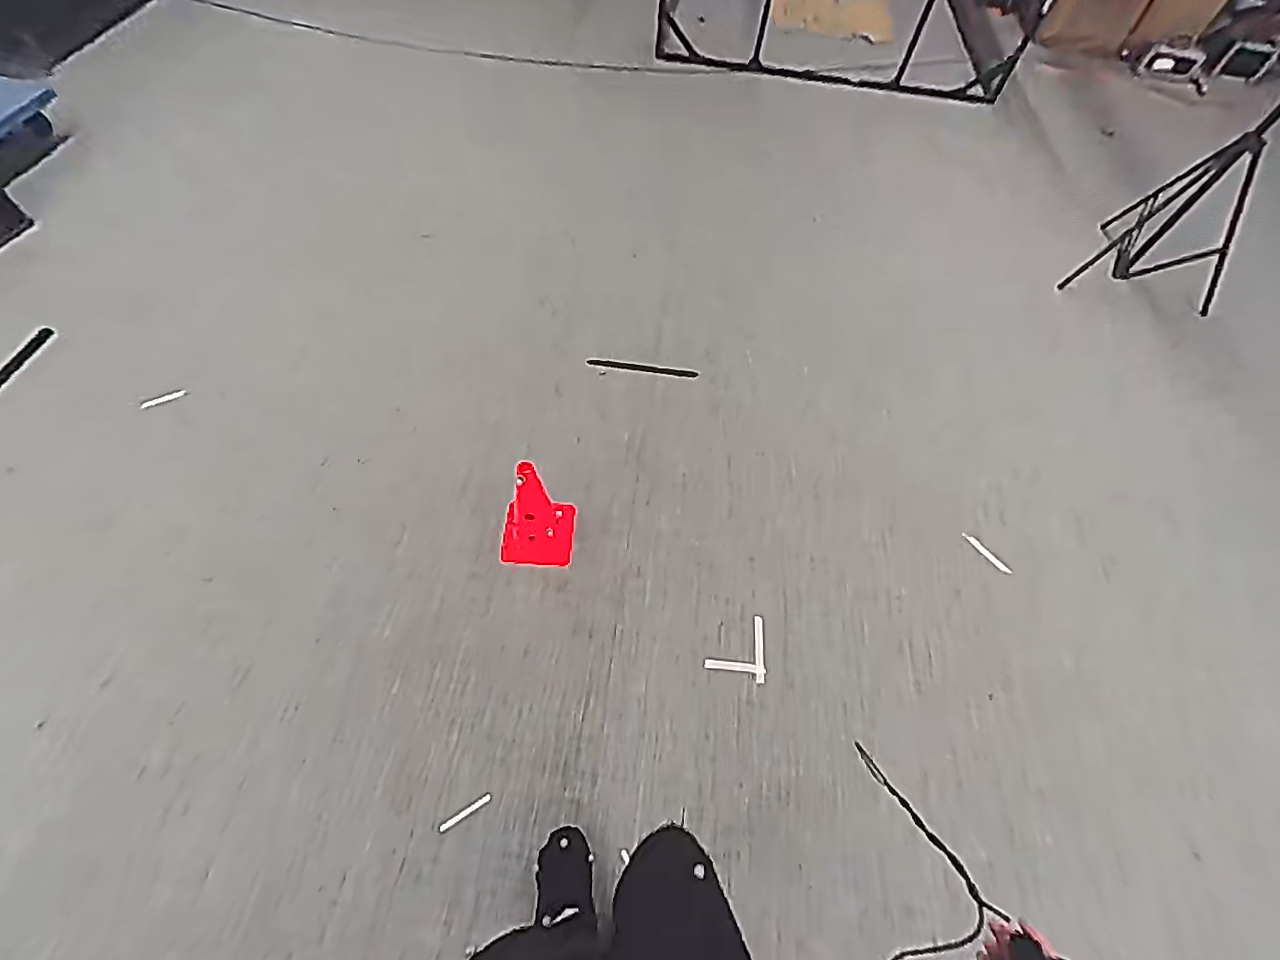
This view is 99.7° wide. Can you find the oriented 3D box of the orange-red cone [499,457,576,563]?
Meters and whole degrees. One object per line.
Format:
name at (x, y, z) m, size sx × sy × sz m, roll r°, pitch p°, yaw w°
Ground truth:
orange-red cone at (-0.284, 0.054, 1.403) m, size 0.199 × 0.360 × 0.198 m, roll 4°, pitch 58°, yaw 0°
